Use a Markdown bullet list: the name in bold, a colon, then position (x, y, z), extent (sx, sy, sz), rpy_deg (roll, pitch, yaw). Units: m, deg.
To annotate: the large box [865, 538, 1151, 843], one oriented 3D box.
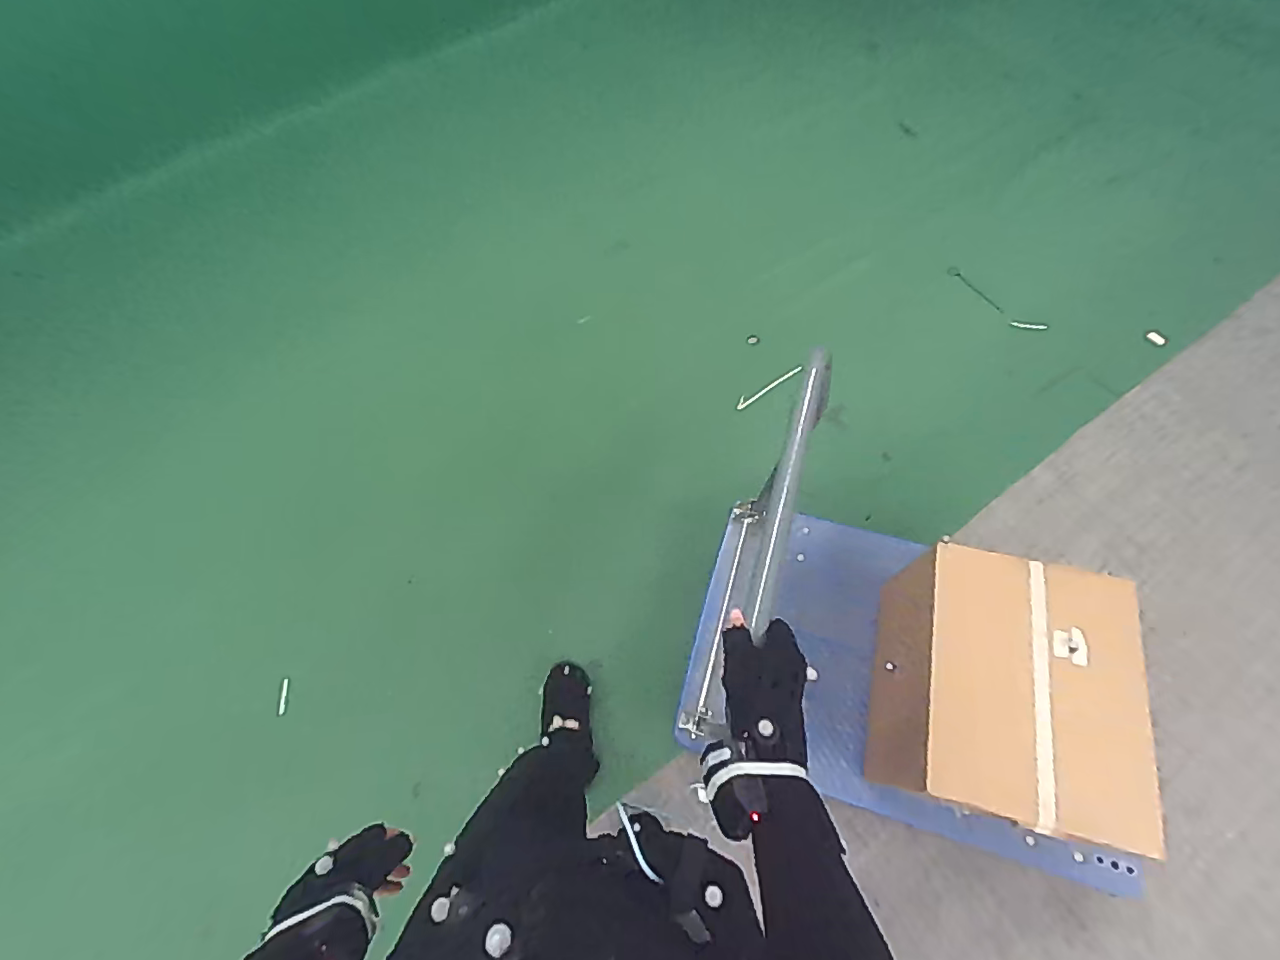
- **large box**: position (0.626, 0.374, 0.992), extent (0.320, 0.320, 0.408), rpy_deg (13, 65, 10)
